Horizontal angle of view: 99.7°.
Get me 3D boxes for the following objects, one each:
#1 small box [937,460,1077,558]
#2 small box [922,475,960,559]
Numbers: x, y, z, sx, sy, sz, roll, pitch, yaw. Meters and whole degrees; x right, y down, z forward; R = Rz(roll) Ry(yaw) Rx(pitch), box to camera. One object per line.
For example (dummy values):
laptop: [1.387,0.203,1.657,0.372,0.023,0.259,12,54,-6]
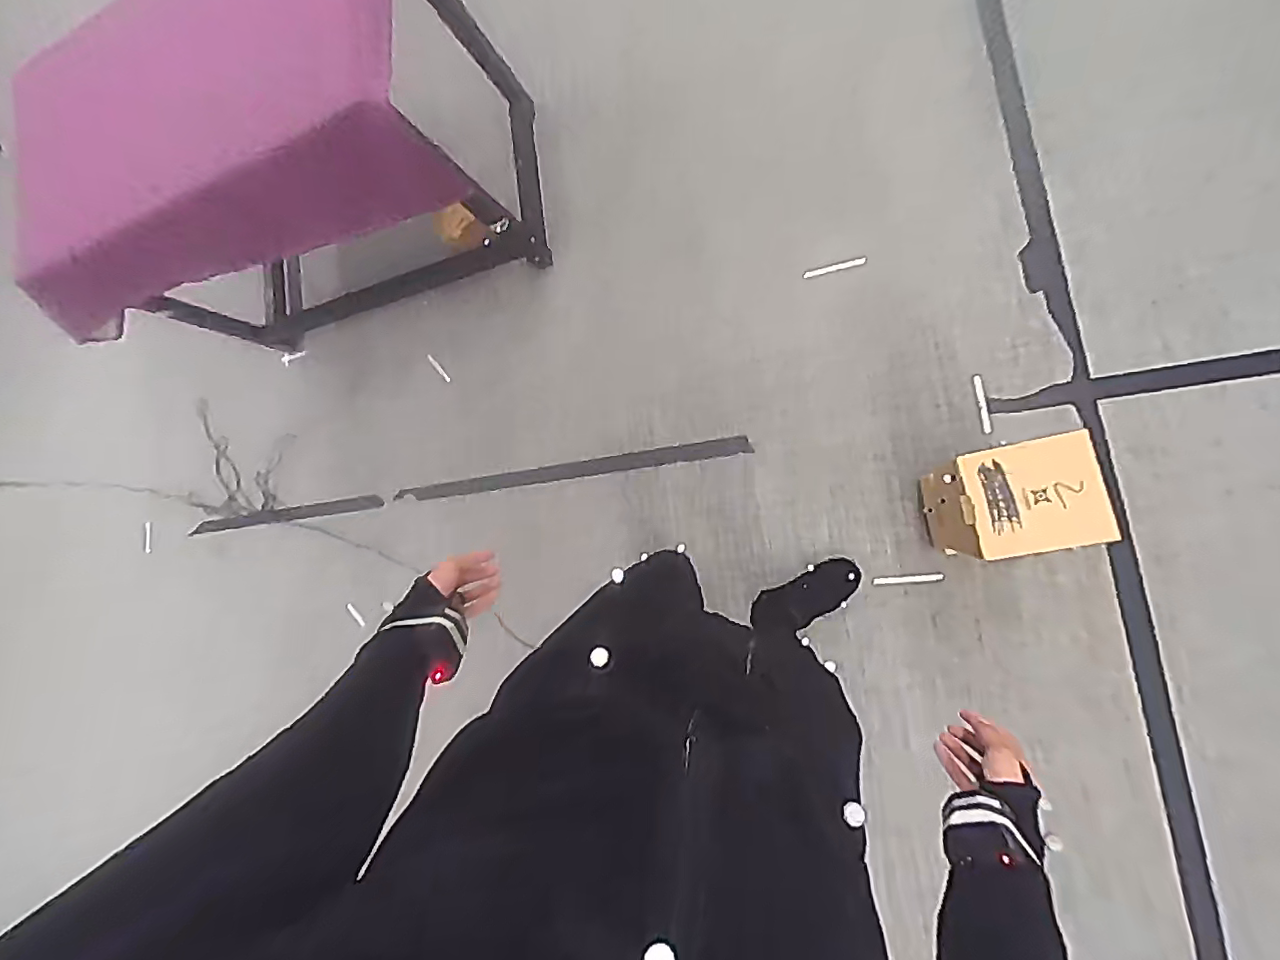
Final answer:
small box: [0.680,0.055,1.021,0.179,0.176,0.168,-7,85,21]
small box: [0.728,0.071,1.176,0.168,0.176,0.179,-11,82,20]
